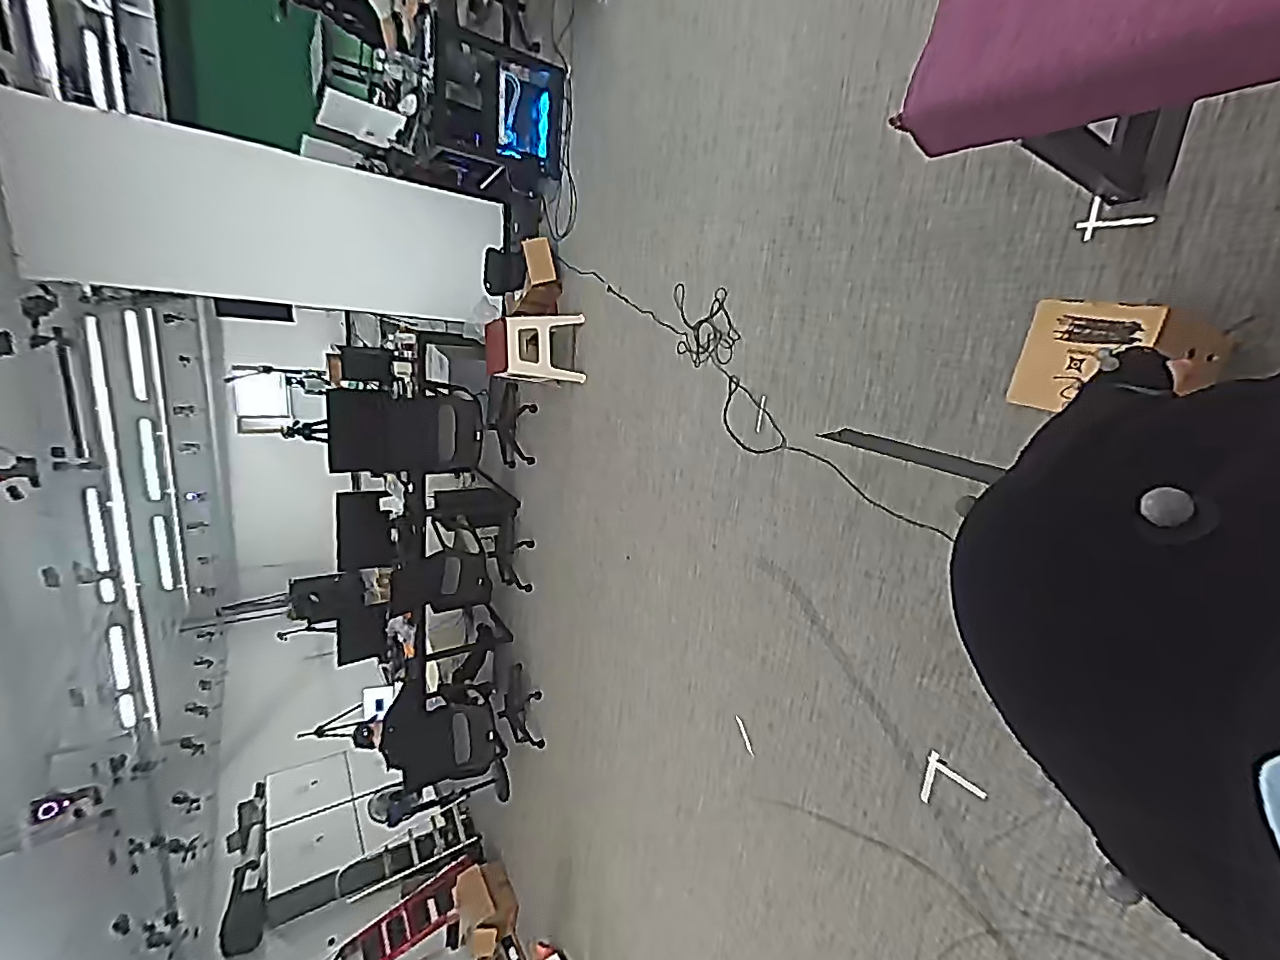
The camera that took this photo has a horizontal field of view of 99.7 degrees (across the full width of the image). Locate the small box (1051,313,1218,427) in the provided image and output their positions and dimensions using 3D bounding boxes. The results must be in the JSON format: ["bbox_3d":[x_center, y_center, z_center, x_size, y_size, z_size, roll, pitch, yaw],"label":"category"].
[{"bbox_3d":[0.894,-0.200,0.978,0.168,0.176,0.179,28,117,51],"label":"small box"}]

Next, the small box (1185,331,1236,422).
[{"bbox_3d":[1.026,-0.217,1.076,0.168,0.176,0.179,35,122,48],"label":"small box"}]
